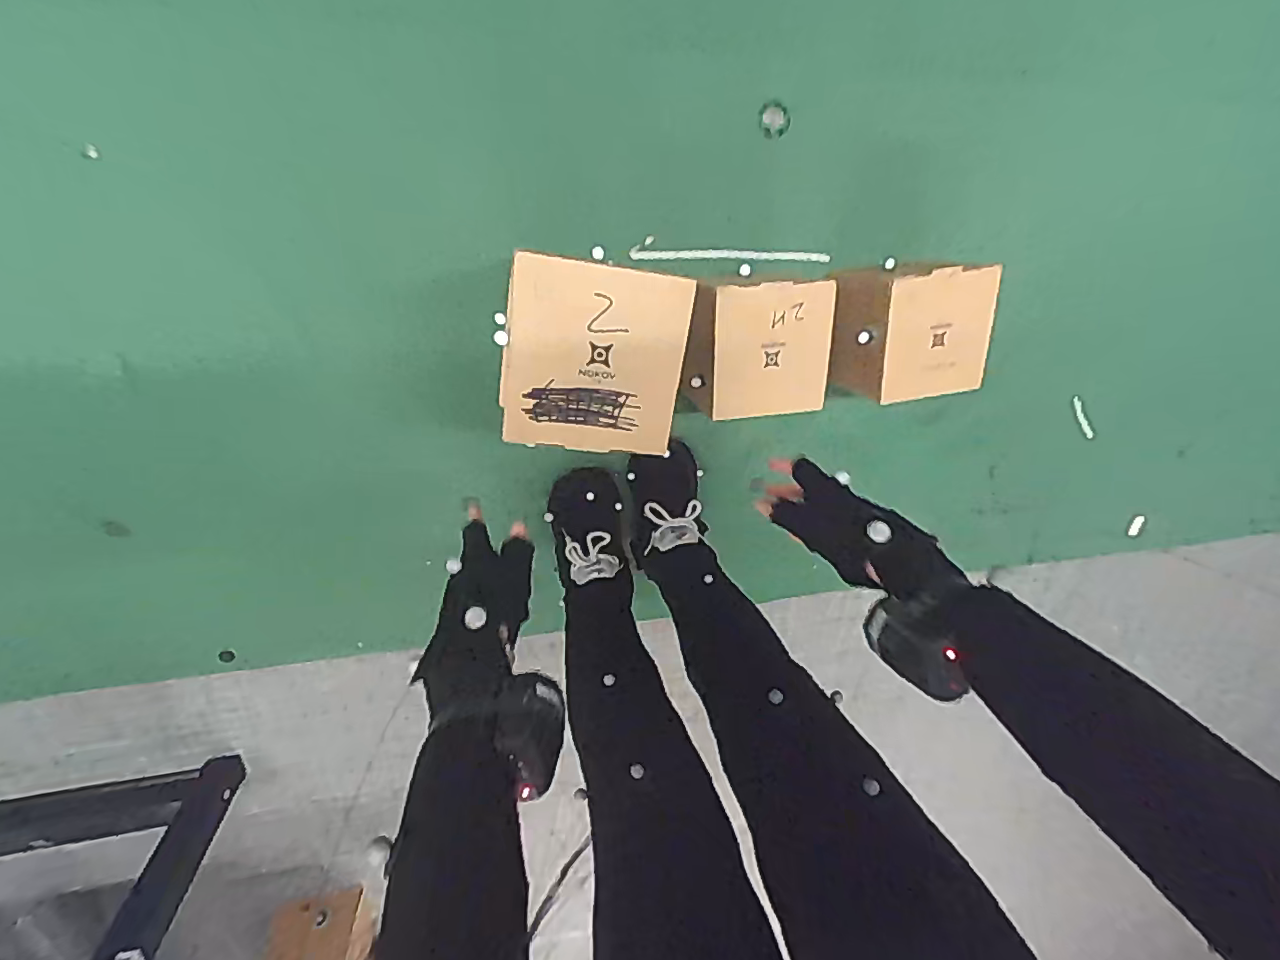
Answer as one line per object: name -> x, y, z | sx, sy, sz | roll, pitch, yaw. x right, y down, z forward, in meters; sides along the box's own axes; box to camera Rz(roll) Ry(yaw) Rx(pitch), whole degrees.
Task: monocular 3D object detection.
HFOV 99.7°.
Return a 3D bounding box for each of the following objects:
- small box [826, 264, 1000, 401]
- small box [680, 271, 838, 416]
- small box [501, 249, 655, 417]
small box -> 0.401, -0.233, 0.829 | 0.168, 0.176, 0.179 | -9, 115, -9
small box -> 0.159, -0.204, 0.784 | 0.168, 0.176, 0.179 | -6, 114, -11
small box -> -0.093, -0.202, 0.726 | 0.168, 0.176, 0.179 | 7, 112, -15
